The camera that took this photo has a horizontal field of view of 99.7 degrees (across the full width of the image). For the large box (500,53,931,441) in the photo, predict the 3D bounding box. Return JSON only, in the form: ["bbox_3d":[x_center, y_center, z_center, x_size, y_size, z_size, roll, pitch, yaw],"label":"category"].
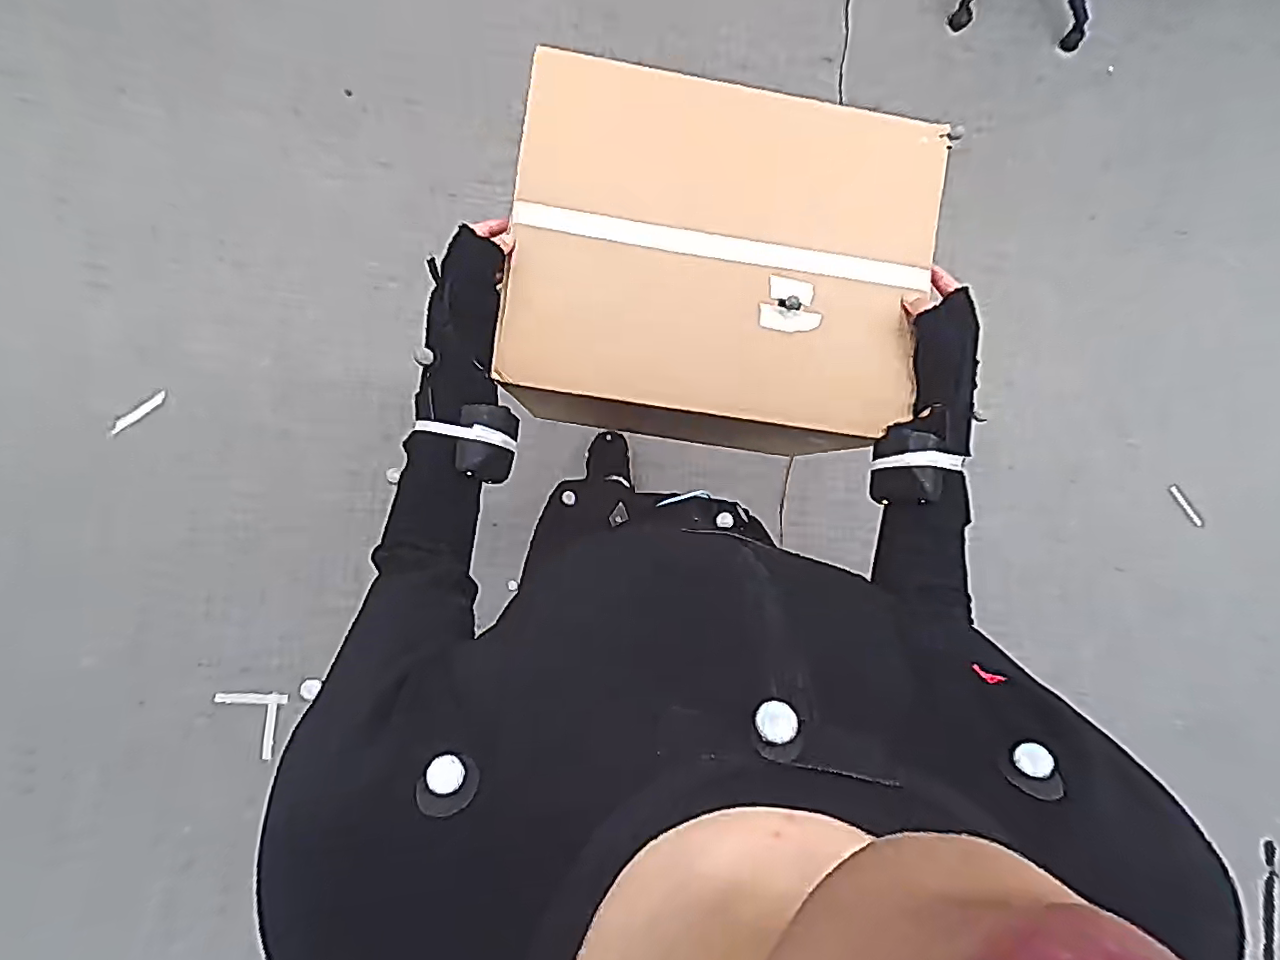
[{"bbox_3d":[0.067,-0.234,0.677,0.408,0.320,0.320,8,91,-5],"label":"large box"}]
